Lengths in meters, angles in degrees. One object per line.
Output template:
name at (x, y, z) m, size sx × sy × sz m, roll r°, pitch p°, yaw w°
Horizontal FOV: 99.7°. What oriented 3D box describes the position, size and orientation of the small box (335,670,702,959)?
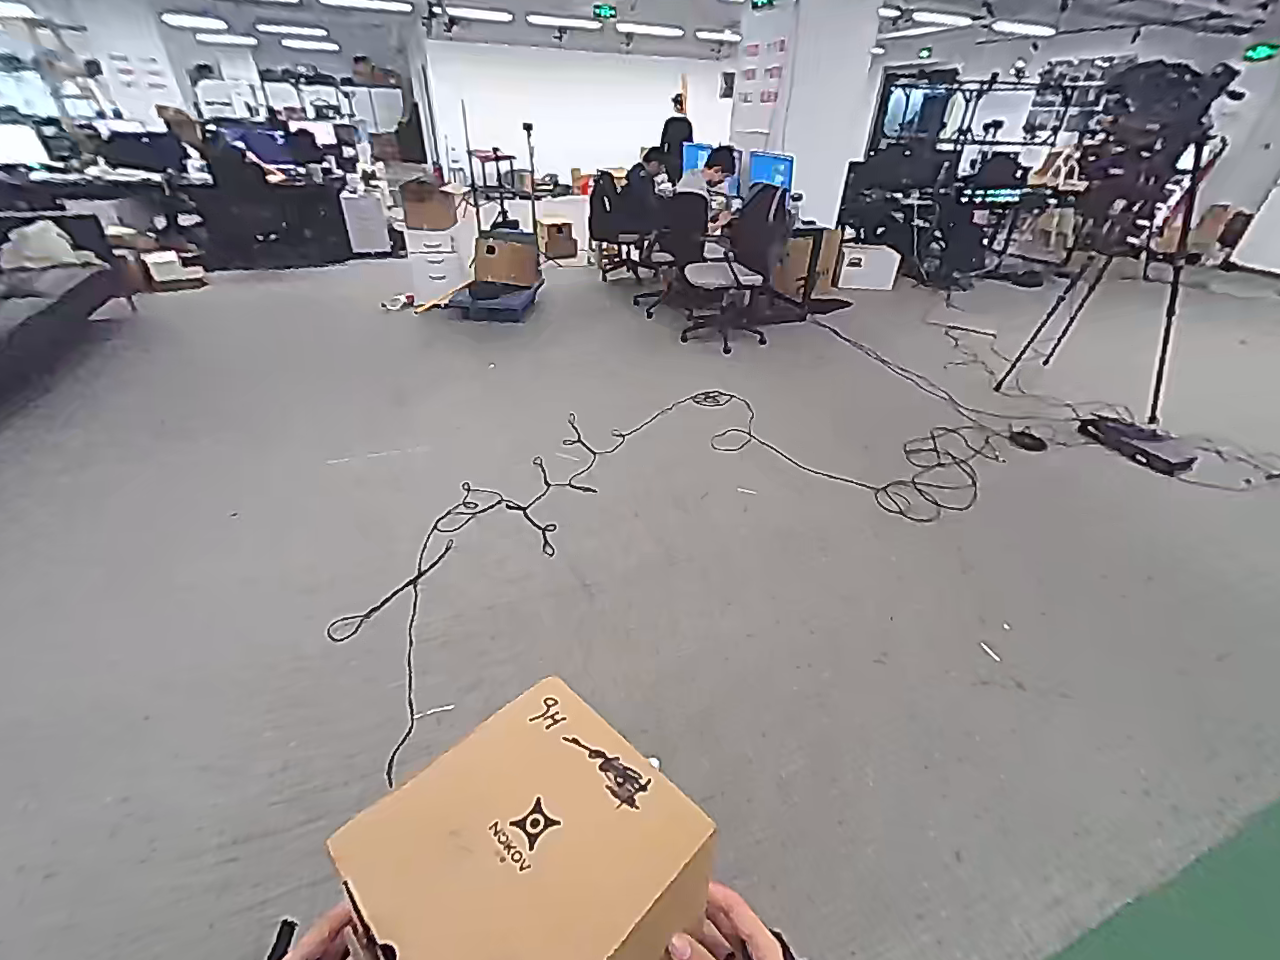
small box at (-0.073, 0.283, 0.380) m, size 0.168 × 0.176 × 0.179 m, roll 26°, pitch 40°, yaw 37°
